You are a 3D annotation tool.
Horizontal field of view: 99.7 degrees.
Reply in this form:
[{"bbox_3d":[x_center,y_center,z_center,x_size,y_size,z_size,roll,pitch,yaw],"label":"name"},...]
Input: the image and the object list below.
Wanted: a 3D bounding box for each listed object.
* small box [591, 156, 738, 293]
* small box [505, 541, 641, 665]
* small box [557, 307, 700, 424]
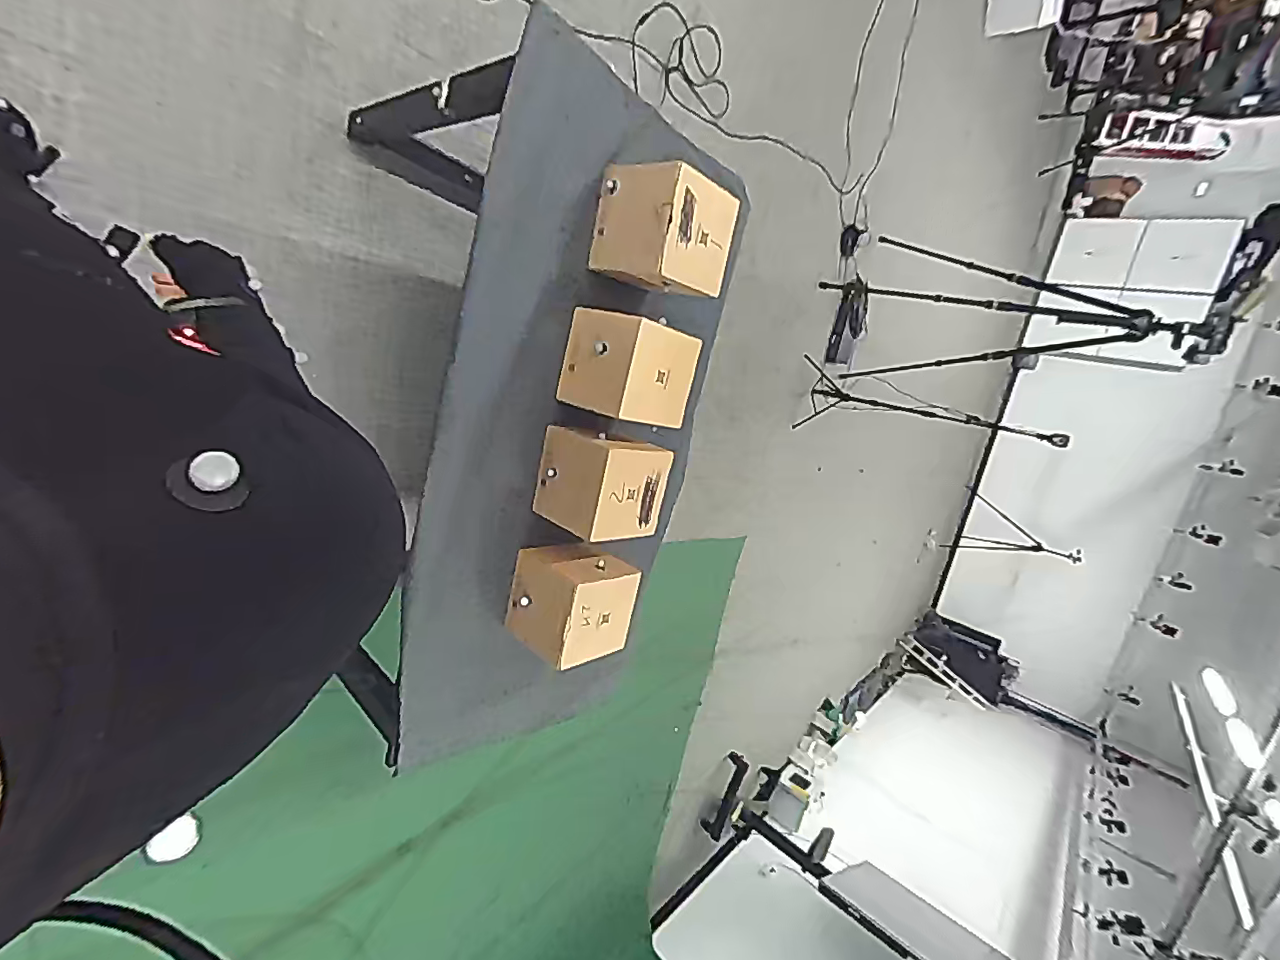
[{"bbox_3d":[0.039,-0.431,0.934,0.179,0.176,0.168,-4,110,-50],"label":"small box"},{"bbox_3d":[-0.131,0.224,1.046,0.179,0.176,0.168,1,106,-50],"label":"small box"},{"bbox_3d":[-0.023,-0.206,0.973,0.179,0.176,0.168,1,106,-51],"label":"small box"}]
